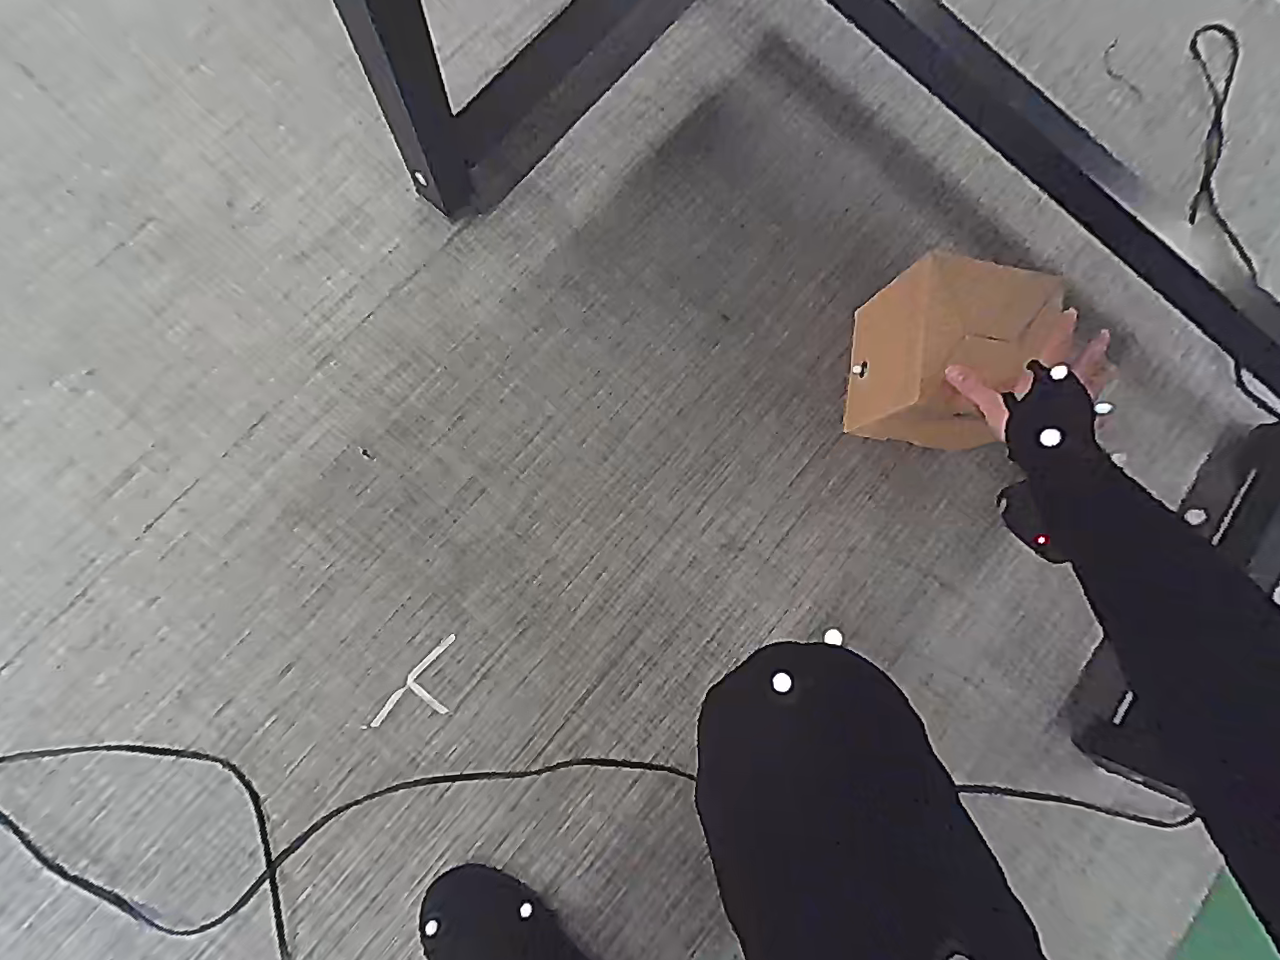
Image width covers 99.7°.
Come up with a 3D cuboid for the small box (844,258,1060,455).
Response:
[{"bbox_3d":[0.374,-0.140,0.665,0.168,0.176,0.179,9,83,-5],"label":"small box"}]
